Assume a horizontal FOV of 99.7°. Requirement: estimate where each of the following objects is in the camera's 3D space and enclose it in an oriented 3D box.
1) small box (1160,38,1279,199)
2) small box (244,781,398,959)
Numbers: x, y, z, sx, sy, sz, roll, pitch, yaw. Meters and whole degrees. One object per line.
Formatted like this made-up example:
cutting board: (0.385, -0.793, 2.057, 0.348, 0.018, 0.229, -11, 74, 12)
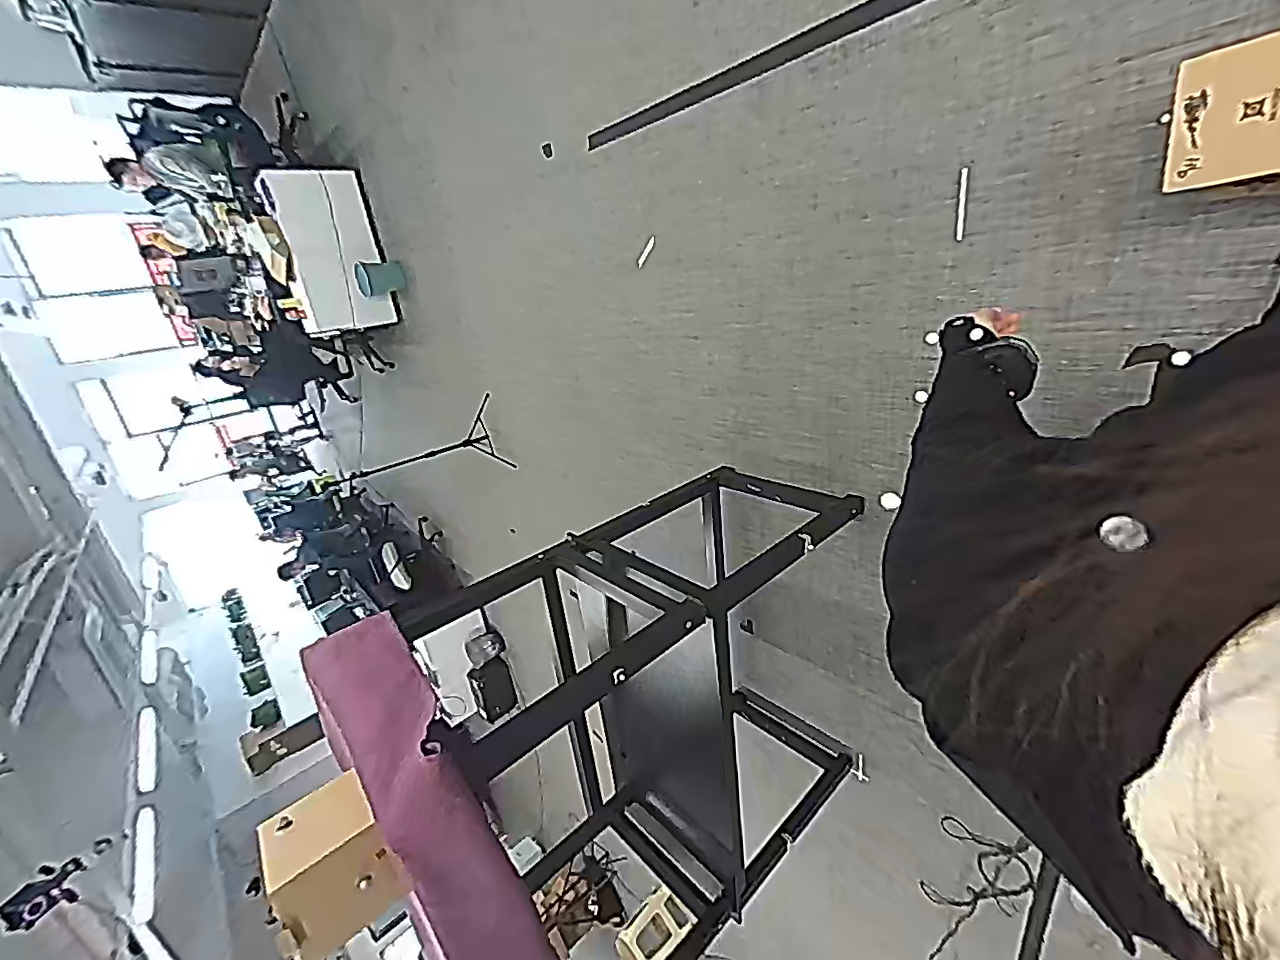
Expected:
small box: (0.854, -0.495, 0.739, 0.179, 0.176, 0.168, 12, 118, 46)
small box: (-0.529, 0.648, 0.904, 0.179, 0.176, 0.168, 8, 116, 50)
